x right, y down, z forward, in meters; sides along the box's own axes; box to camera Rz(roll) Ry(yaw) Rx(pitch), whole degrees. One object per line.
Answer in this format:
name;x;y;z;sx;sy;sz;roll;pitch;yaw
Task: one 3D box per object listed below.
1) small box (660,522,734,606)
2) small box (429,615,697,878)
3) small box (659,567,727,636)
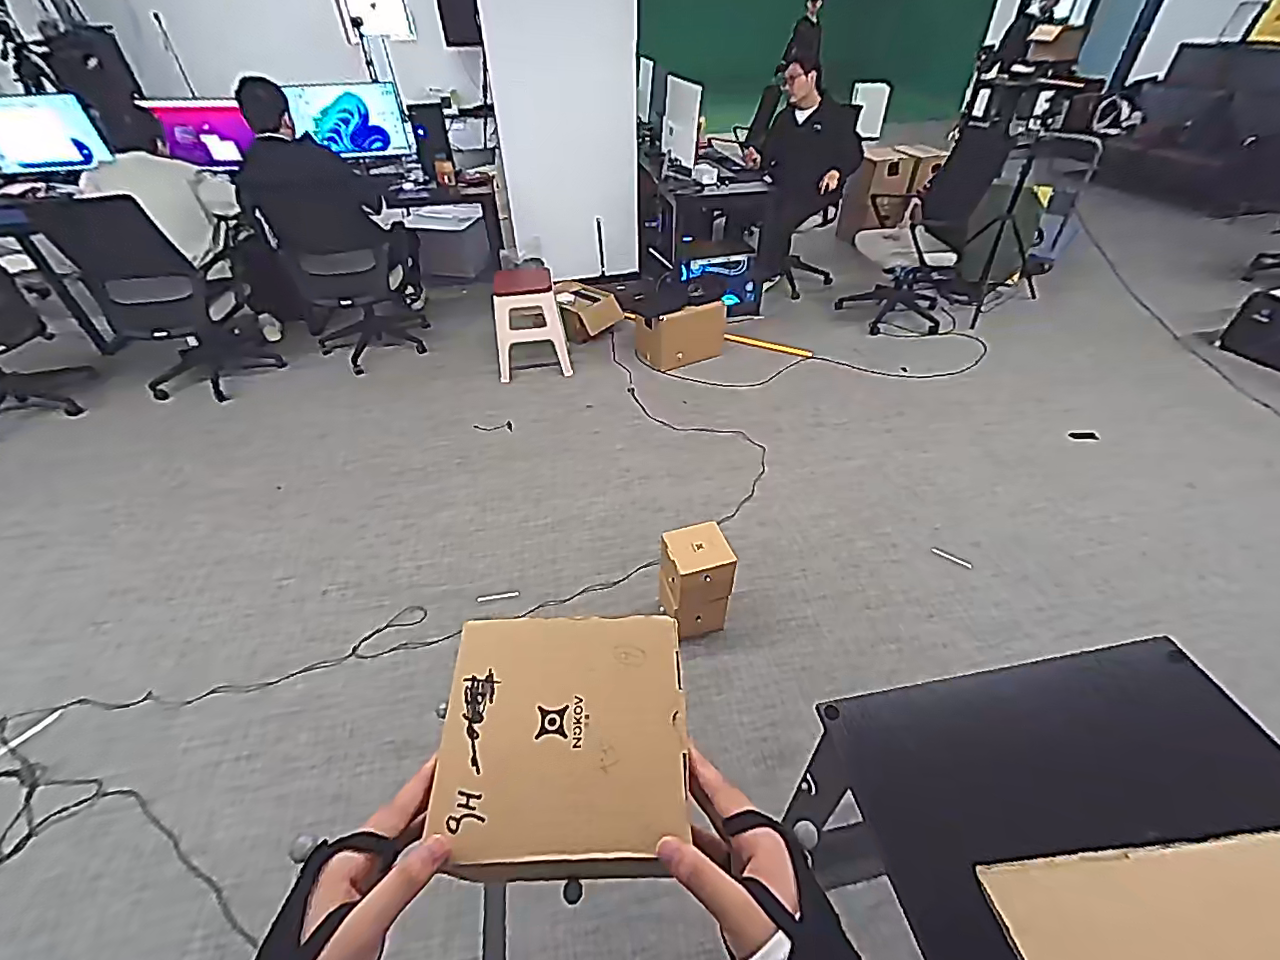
small box;0.166;0.256;1.631;0.179;0.176;0.168;-12;43;-13
small box;-0.054;0.228;0.460;0.179;0.176;0.168;0;49;-2
small box;0.163;0.380;1.738;0.179;0.176;0.168;-11;42;-10
